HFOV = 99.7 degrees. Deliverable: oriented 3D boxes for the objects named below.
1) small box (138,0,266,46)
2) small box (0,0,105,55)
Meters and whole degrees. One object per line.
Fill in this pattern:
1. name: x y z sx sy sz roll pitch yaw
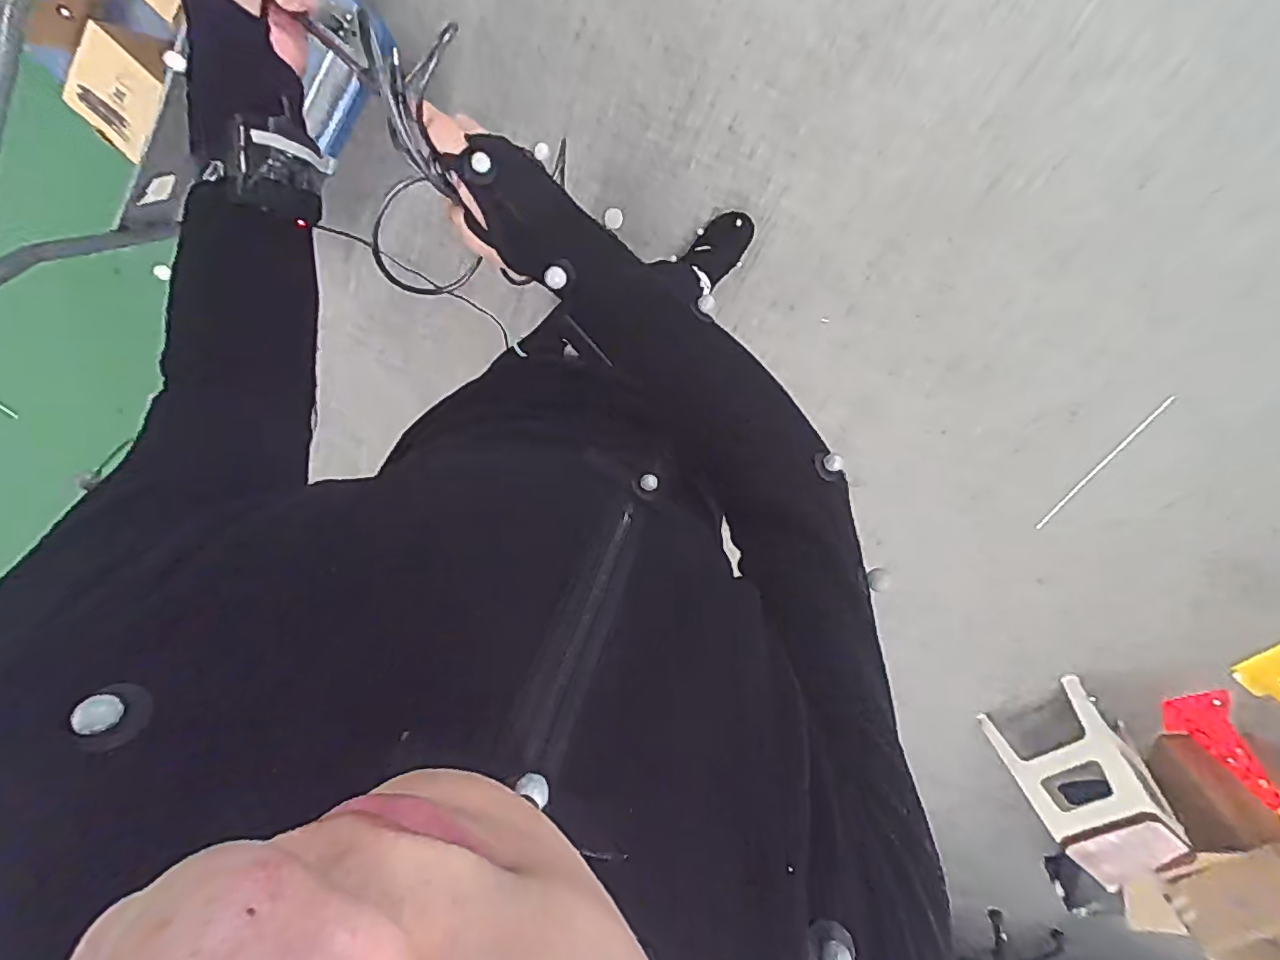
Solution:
1. small box: -0.833 -0.945 0.988 0.168 0.176 0.179 -39 110 24
2. small box: -1.181 -0.951 1.023 0.179 0.176 0.168 38 116 -15
